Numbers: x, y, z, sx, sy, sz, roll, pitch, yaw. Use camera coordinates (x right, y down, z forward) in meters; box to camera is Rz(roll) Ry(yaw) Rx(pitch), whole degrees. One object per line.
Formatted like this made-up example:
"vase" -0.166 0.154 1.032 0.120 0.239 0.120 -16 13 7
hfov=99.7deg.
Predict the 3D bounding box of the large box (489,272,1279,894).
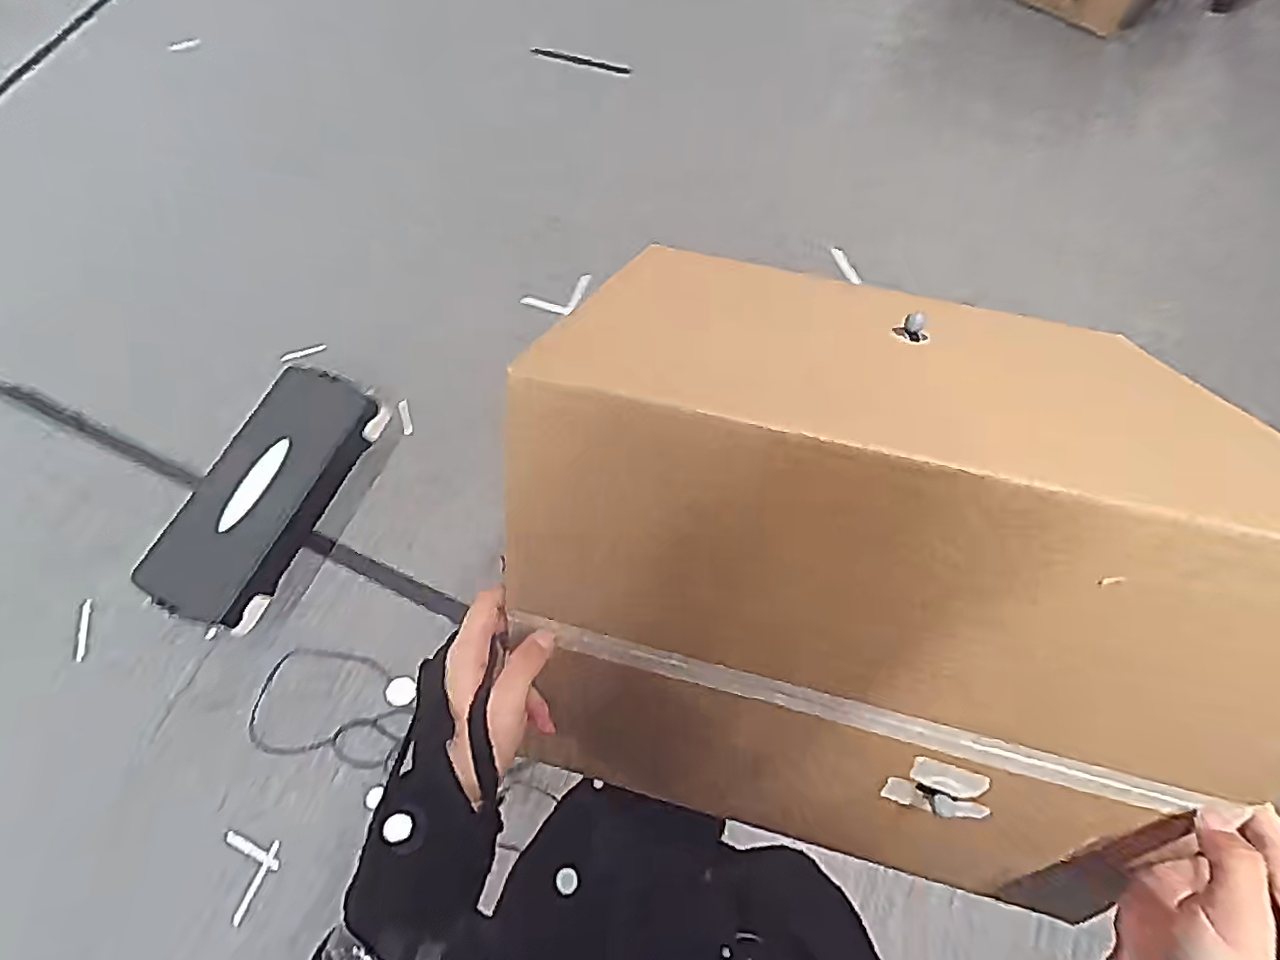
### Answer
"large box" 0.135 0.045 0.433 0.408 0.320 0.320 11 35 6
